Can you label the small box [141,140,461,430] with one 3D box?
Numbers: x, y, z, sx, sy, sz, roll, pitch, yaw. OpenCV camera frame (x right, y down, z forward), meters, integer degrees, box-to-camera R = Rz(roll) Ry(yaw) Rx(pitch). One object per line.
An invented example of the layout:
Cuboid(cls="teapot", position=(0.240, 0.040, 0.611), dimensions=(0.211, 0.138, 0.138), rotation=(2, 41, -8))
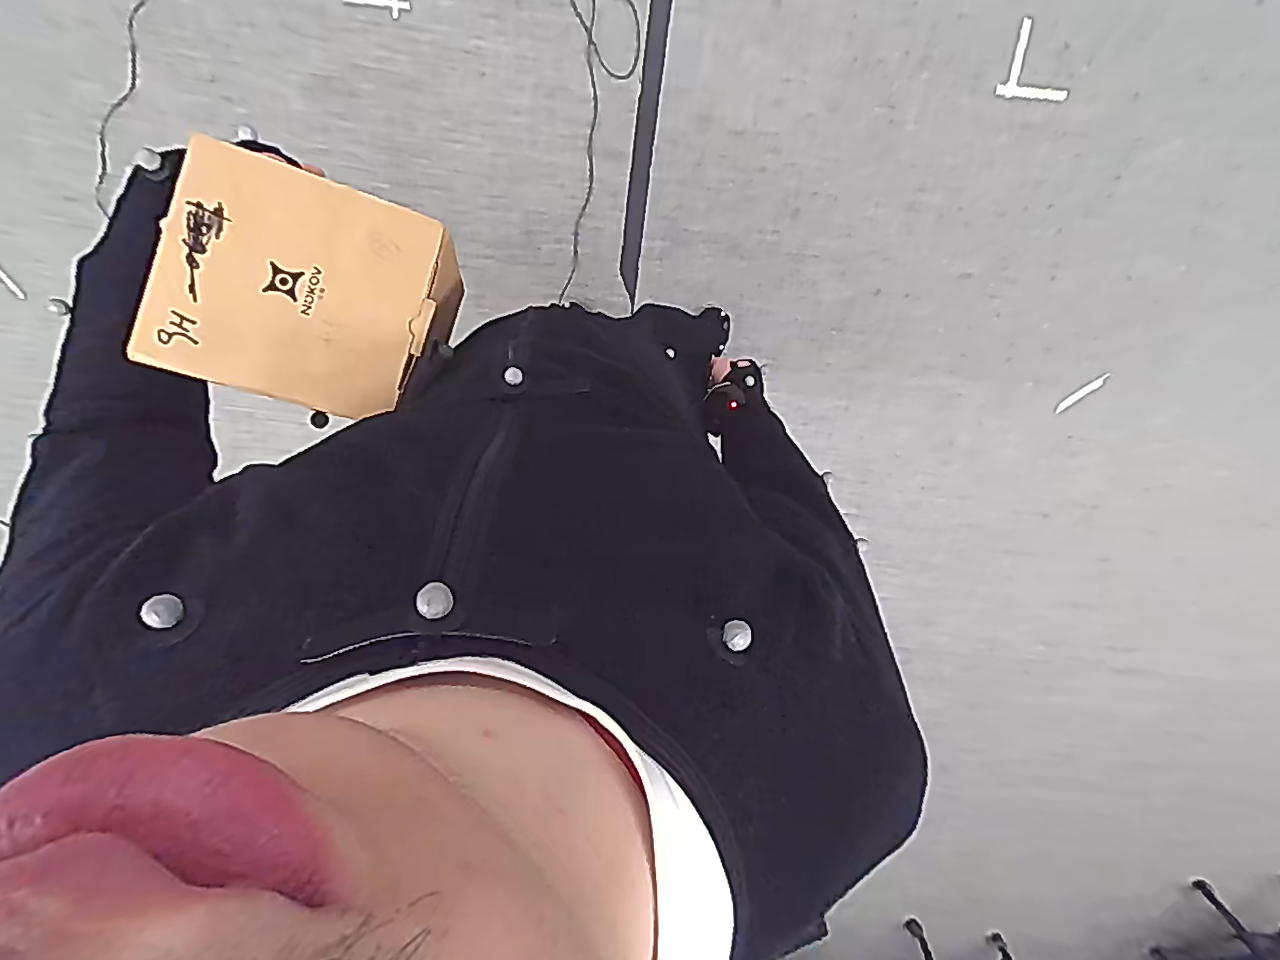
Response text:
Cuboid(cls="small box", position=(-0.267, -0.145, 0.477), dimensions=(0.179, 0.176, 0.168), rotation=(15, 88, -14))
